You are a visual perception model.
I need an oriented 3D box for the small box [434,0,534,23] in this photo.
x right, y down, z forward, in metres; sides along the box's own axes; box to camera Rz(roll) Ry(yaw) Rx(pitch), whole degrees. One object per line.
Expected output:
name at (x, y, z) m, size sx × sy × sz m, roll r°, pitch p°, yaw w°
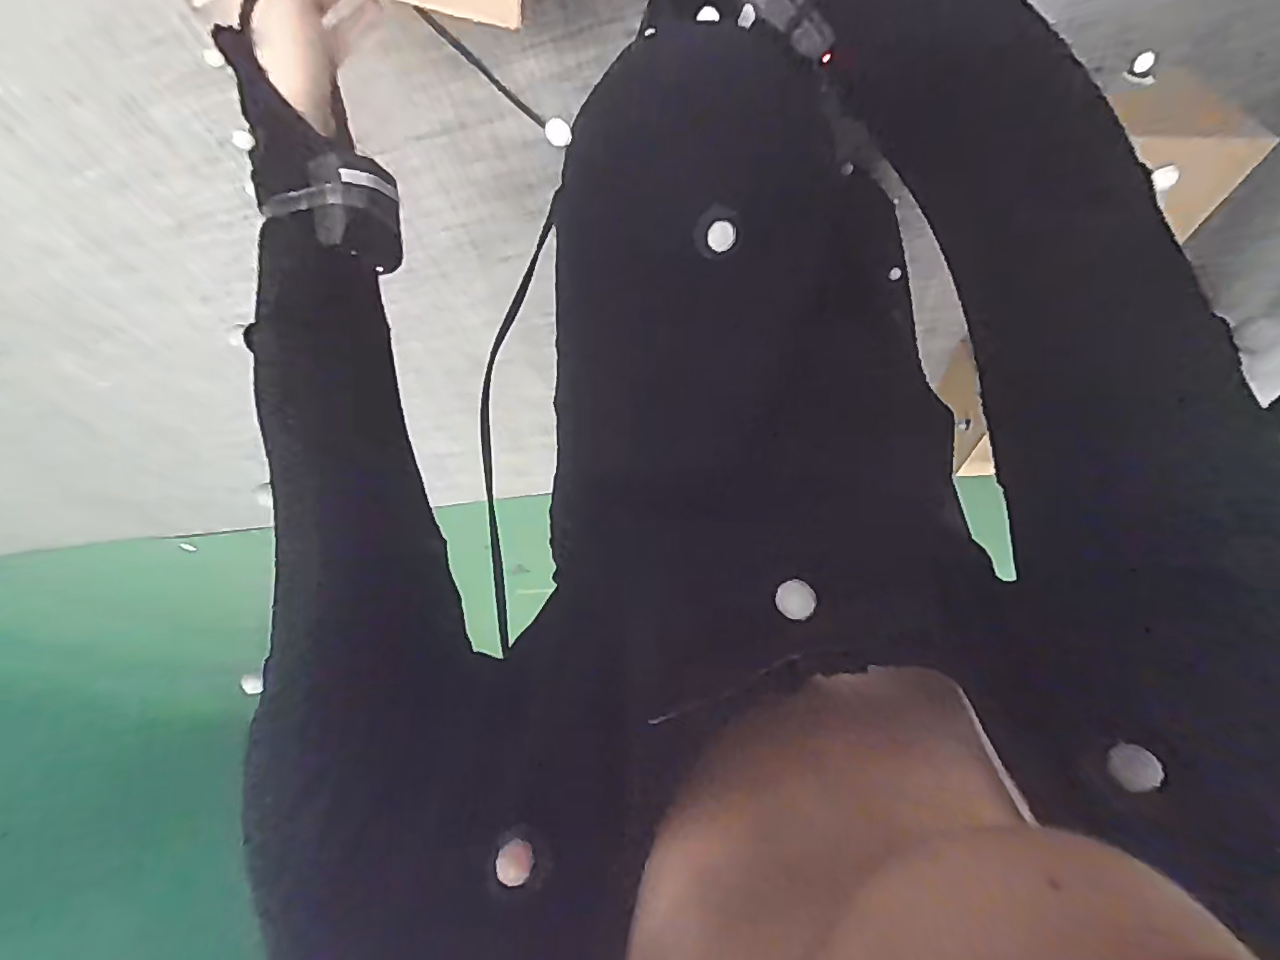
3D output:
small box at (-0.146, -0.454, 0.355) m, size 0.179 × 0.176 × 0.168 m, roll 9°, pitch 148°, yaw -9°

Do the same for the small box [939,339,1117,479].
small box at (0.628, -0.120, 0.907) m, size 0.168 × 0.176 × 0.179 m, roll -3°, pitch 148°, yaw 8°
